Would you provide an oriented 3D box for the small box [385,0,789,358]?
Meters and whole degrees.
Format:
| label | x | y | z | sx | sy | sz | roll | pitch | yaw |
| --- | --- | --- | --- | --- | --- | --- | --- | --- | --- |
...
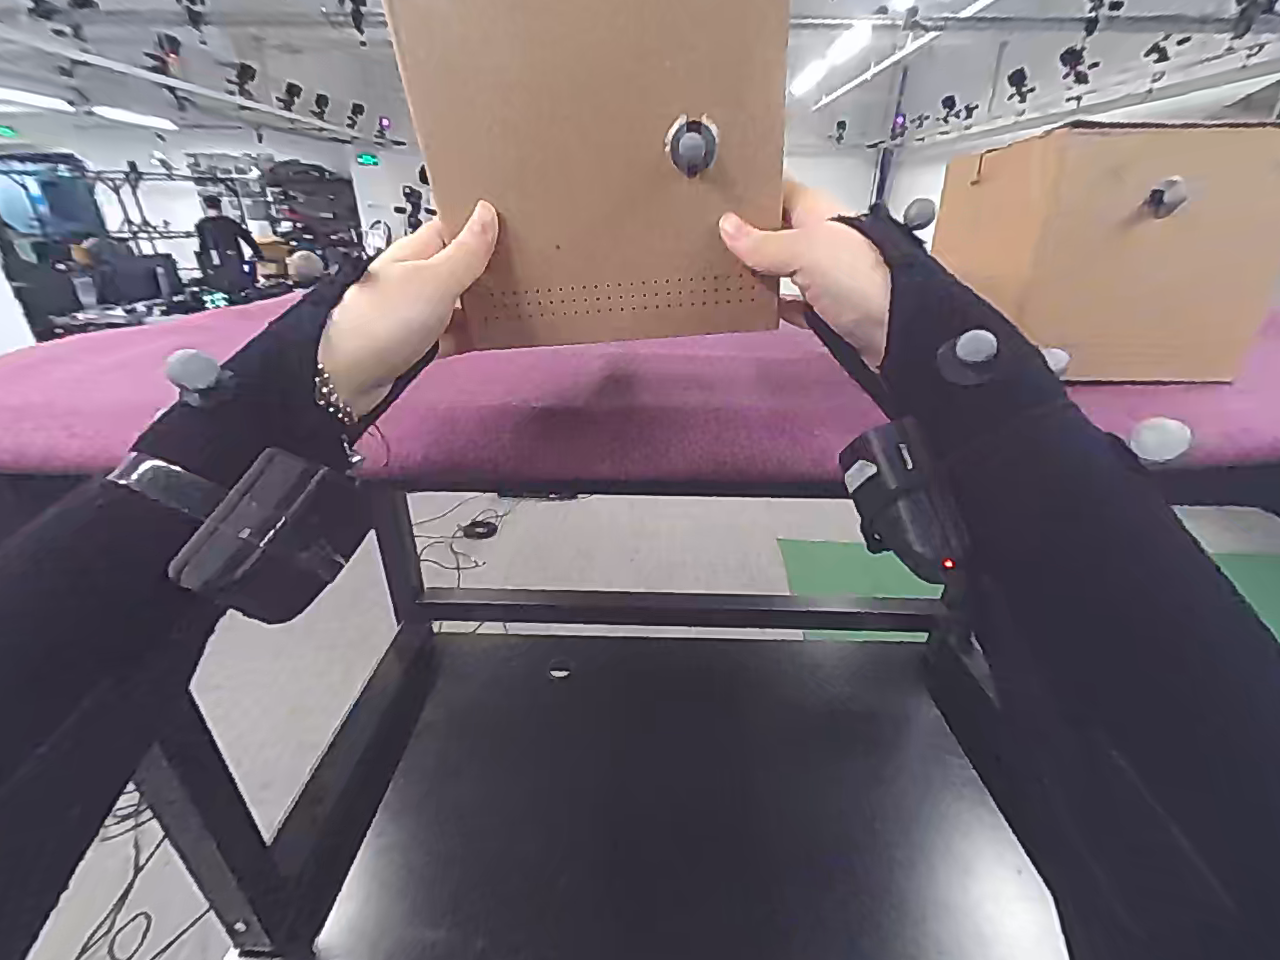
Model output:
| label | x | y | z | sx | sy | sz | roll | pitch | yaw |
| --- | --- | --- | --- | --- | --- | --- | --- | --- | --- |
| small box | -0.013 | -0.183 | 0.333 | 0.179 | 0.176 | 0.168 | -4 | 30 | 5 |

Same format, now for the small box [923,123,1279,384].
| label | x | y | z | sx | sy | sz | roll | pitch | yaw |
| --- | --- | --- | --- | --- | --- | --- | --- | --- | --- |
| small box | 0.359 | -0.179 | 0.449 | 0.179 | 0.176 | 0.168 | 1 | 24 | 2 |
